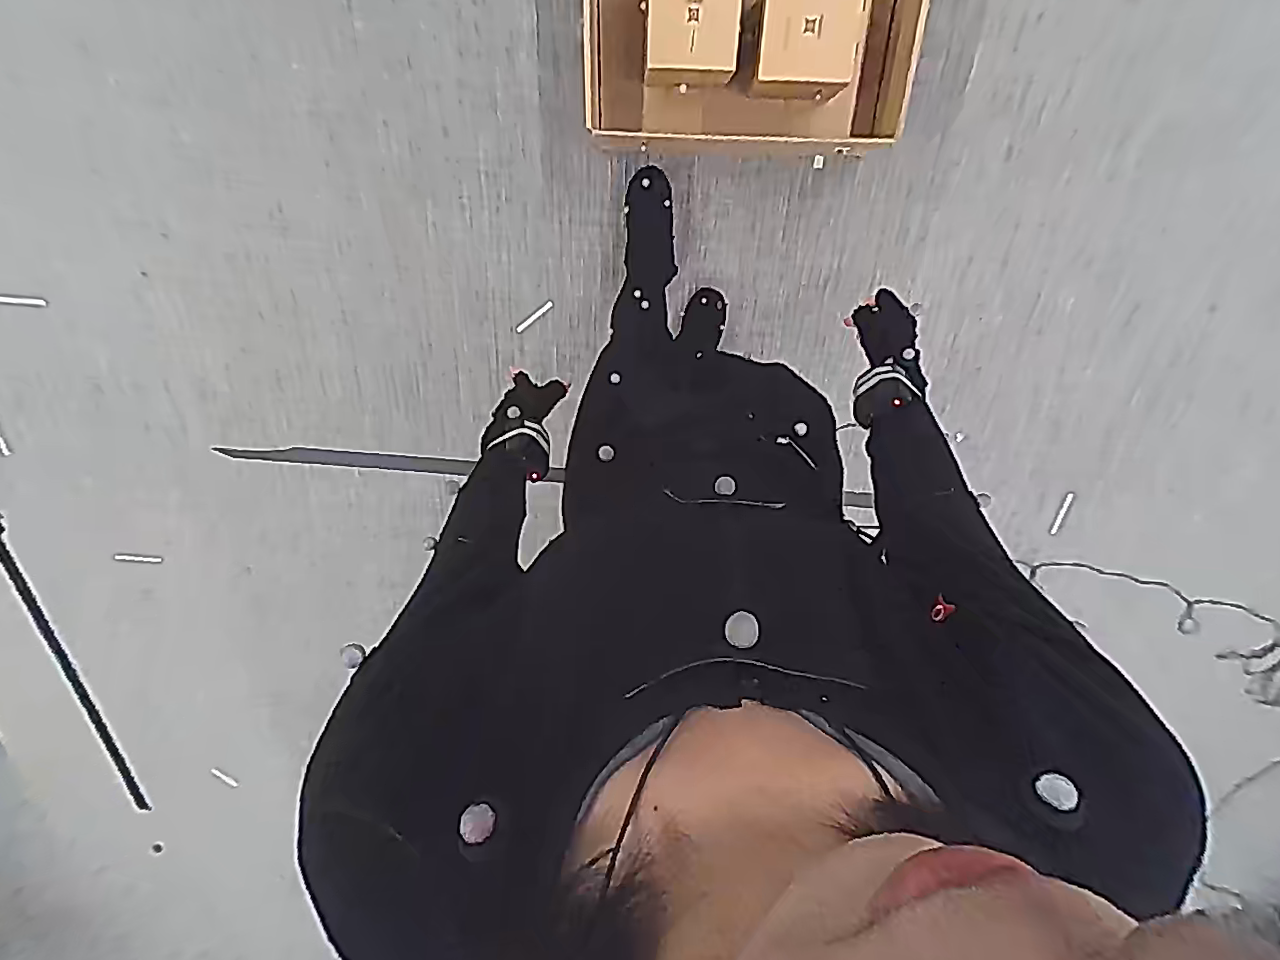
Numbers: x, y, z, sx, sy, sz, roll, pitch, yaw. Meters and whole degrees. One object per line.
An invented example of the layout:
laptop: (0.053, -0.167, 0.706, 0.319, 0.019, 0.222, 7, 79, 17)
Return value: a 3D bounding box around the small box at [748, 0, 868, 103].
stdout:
small box: (0.313, -0.839, 1.035, 0.179, 0.176, 0.168, 3, 115, 2)
